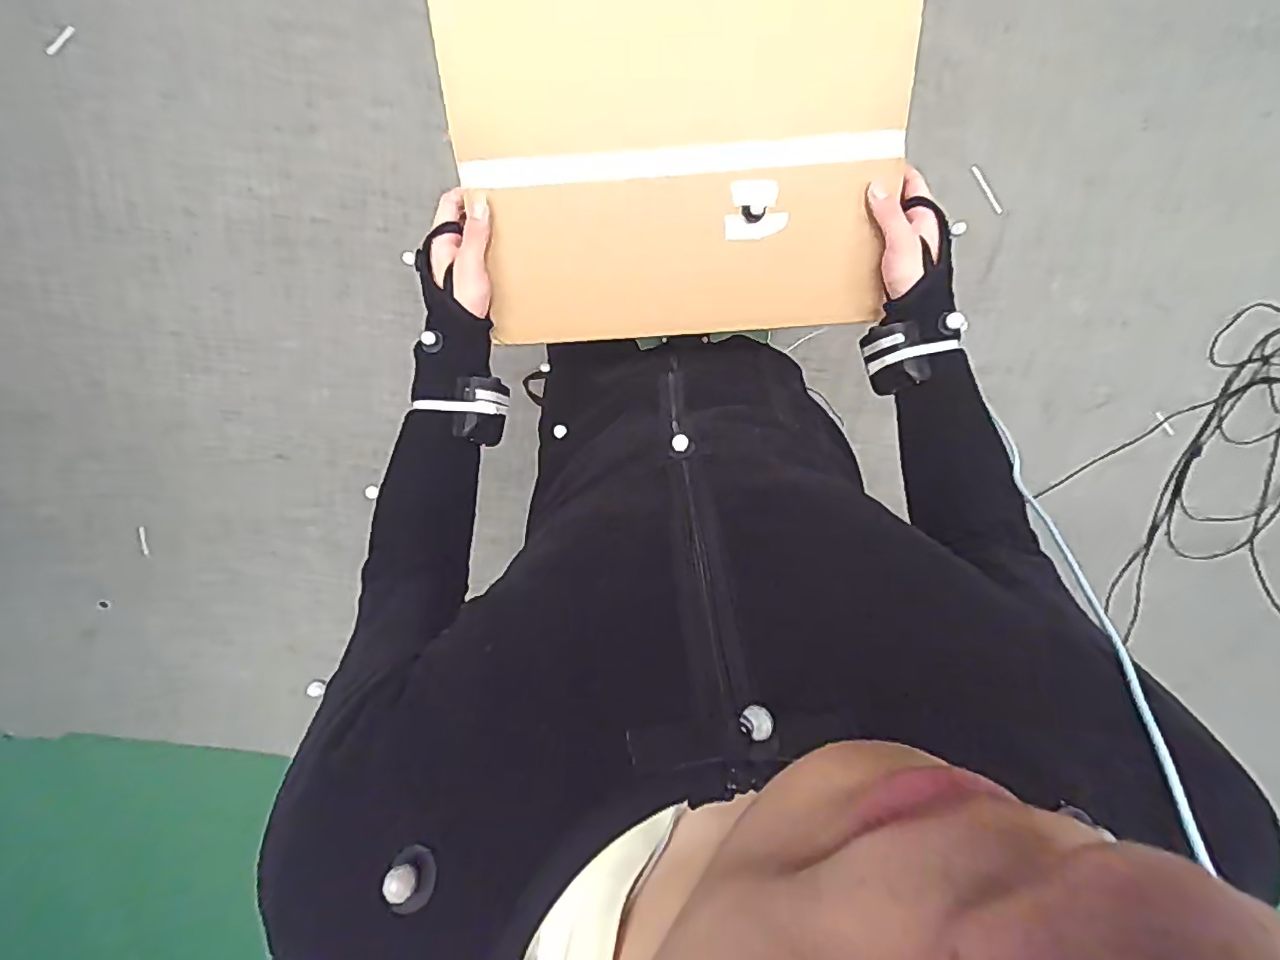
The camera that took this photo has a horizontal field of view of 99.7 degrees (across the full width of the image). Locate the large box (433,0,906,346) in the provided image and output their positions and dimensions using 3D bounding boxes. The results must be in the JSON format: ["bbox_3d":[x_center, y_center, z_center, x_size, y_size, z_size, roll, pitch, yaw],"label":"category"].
[{"bbox_3d":[0.029,-0.359,0.637,0.408,0.320,0.320,-4,117,0],"label":"large box"}]
